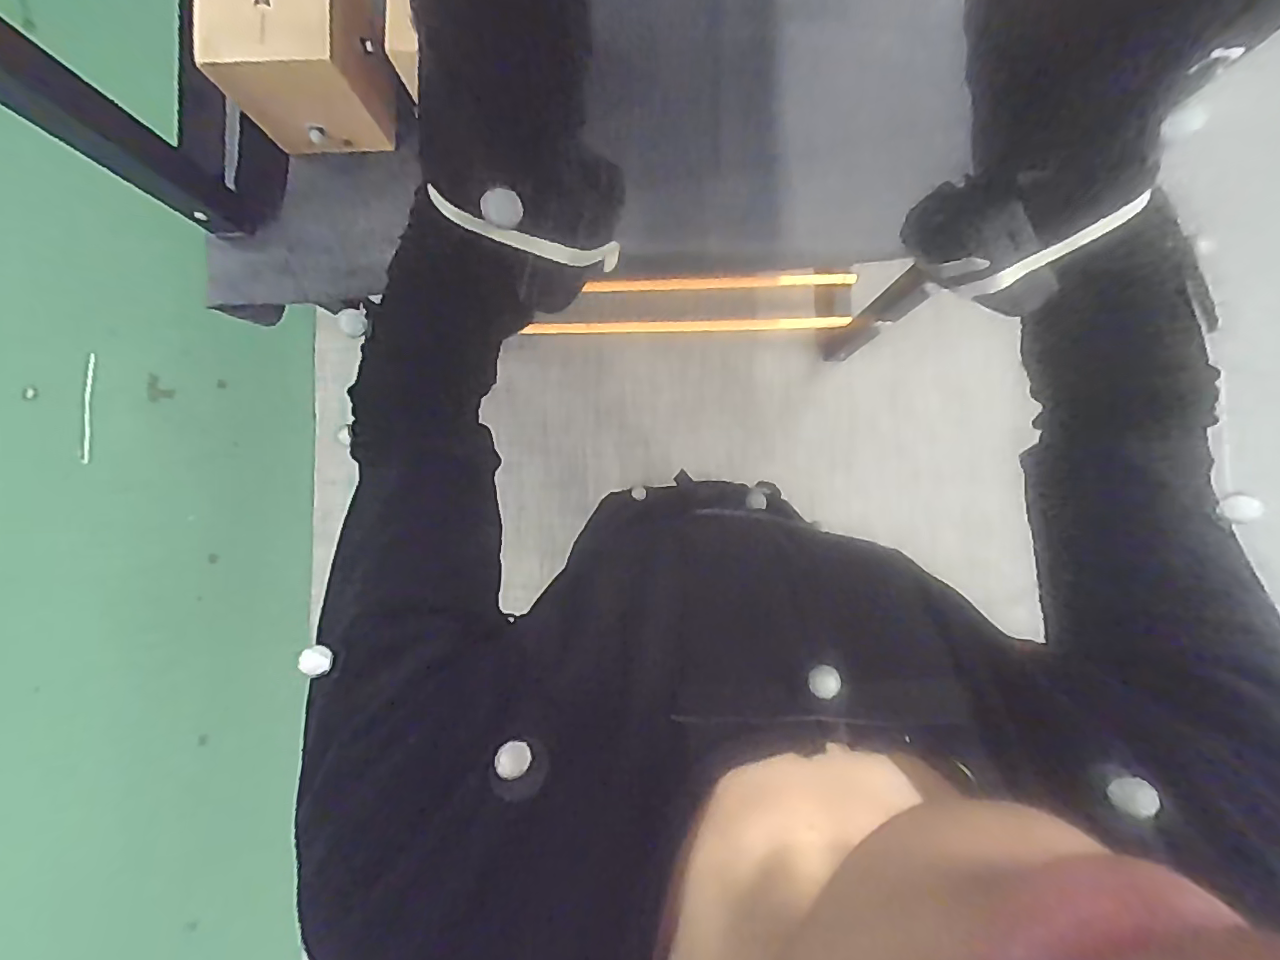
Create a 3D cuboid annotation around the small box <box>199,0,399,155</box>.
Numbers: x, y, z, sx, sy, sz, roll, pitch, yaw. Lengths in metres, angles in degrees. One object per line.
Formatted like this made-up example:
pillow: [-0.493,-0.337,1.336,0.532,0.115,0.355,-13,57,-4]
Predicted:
small box: [-0.443,-0.576,0.728,0.168,0.176,0.179,-1,87,1]
